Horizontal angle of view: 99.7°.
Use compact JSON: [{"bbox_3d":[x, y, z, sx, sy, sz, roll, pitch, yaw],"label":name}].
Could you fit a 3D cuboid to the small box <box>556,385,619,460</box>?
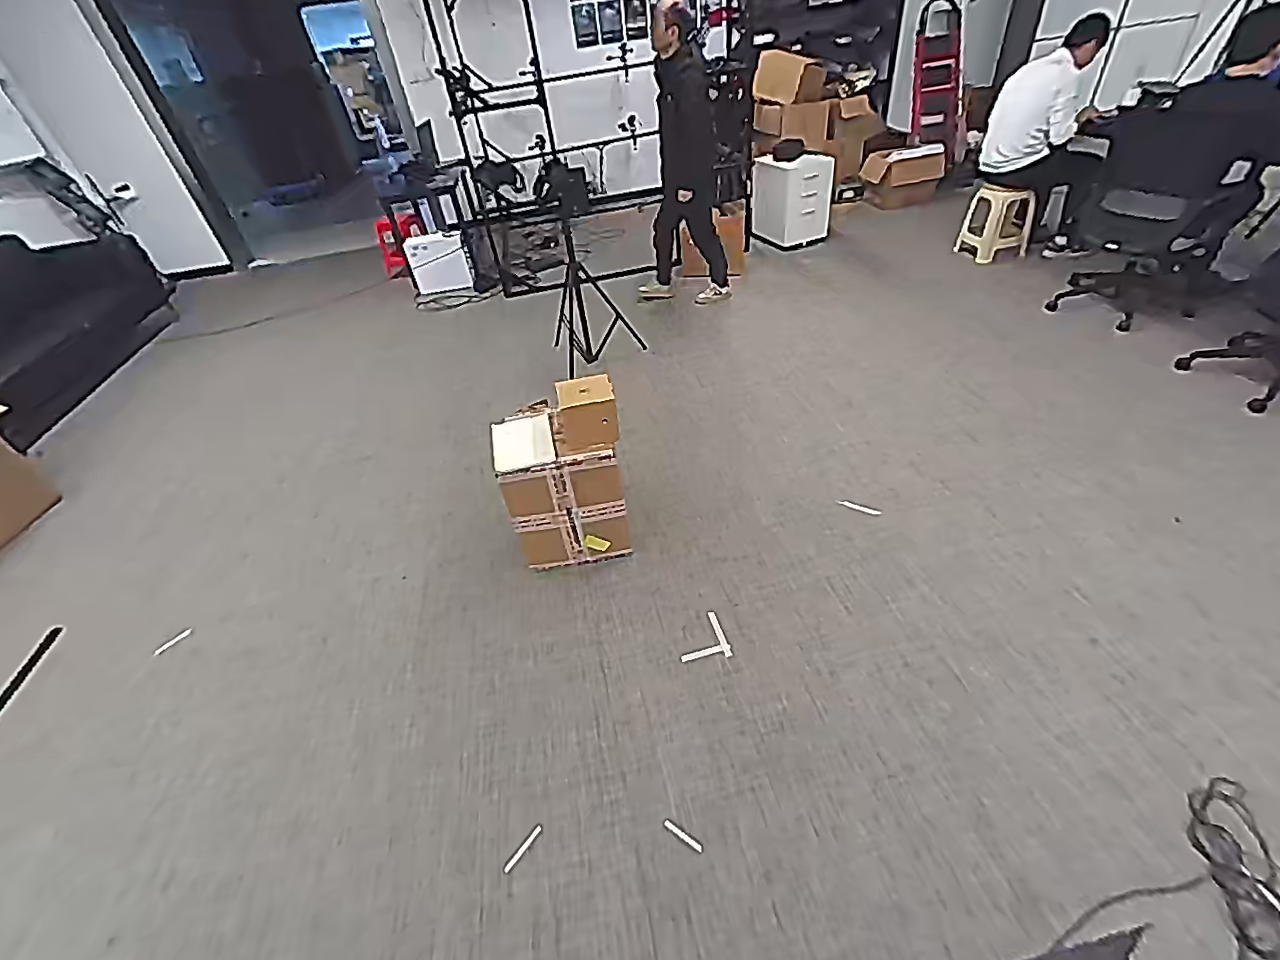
[{"bbox_3d":[-0.169,-0.189,1.783,0.179,0.176,0.168,-13,41,-7],"label":"small box"}]
